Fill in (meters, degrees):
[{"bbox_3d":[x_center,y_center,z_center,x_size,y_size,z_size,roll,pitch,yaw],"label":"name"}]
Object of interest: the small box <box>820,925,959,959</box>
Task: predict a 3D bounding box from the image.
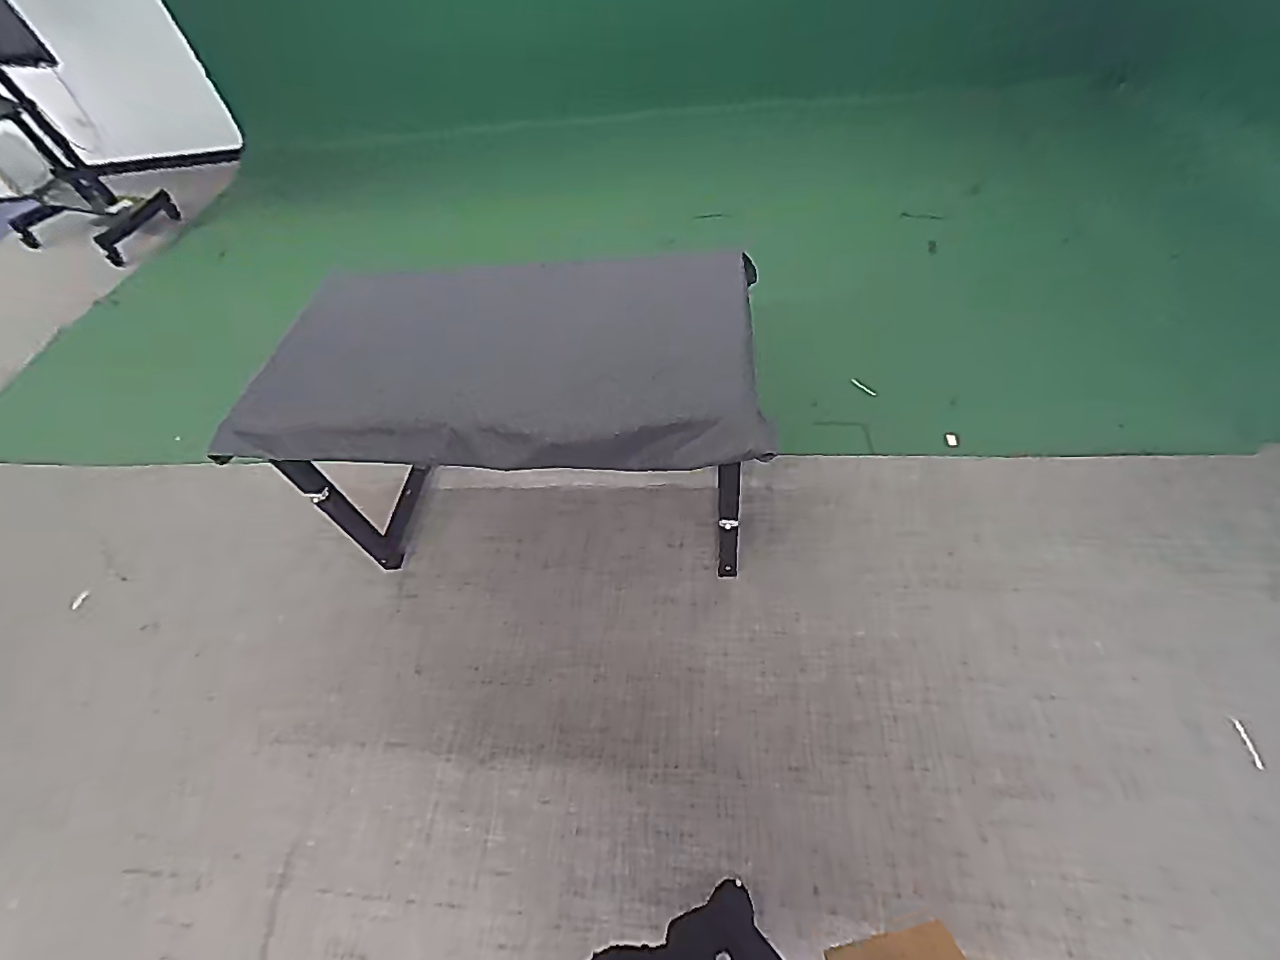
[{"bbox_3d":[0.338,0.691,0.635,0.168,0.179,0.176,-16,83,1],"label":"small box"}]
